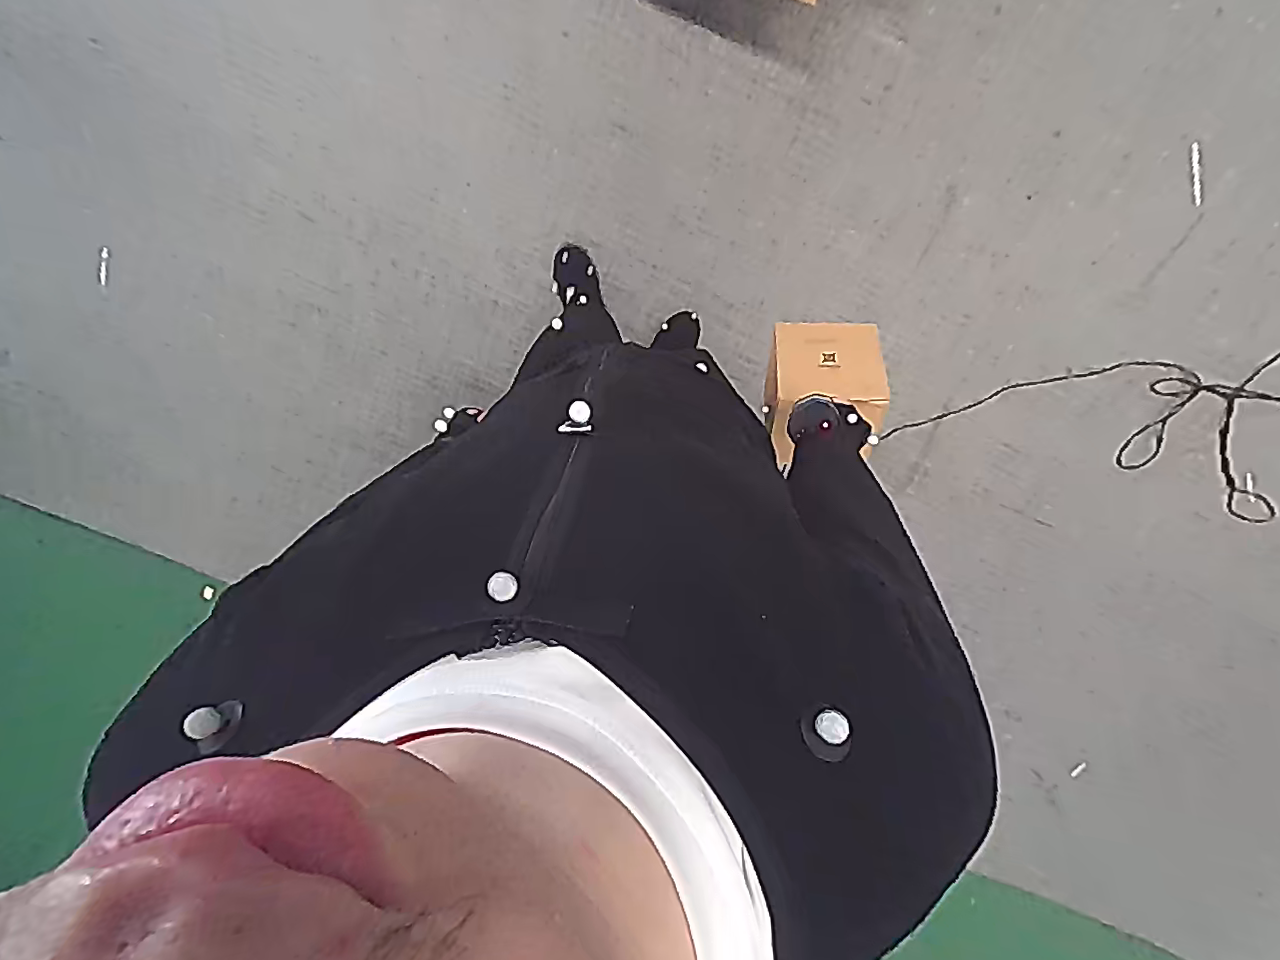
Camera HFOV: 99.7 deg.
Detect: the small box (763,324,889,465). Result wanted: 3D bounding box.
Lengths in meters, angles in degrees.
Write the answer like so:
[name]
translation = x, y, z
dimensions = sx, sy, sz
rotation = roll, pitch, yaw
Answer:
[small box]
translation = 0.304, -0.142, 0.920
dimensions = 0.168, 0.179, 0.176
rotation = 3, 145, 6
